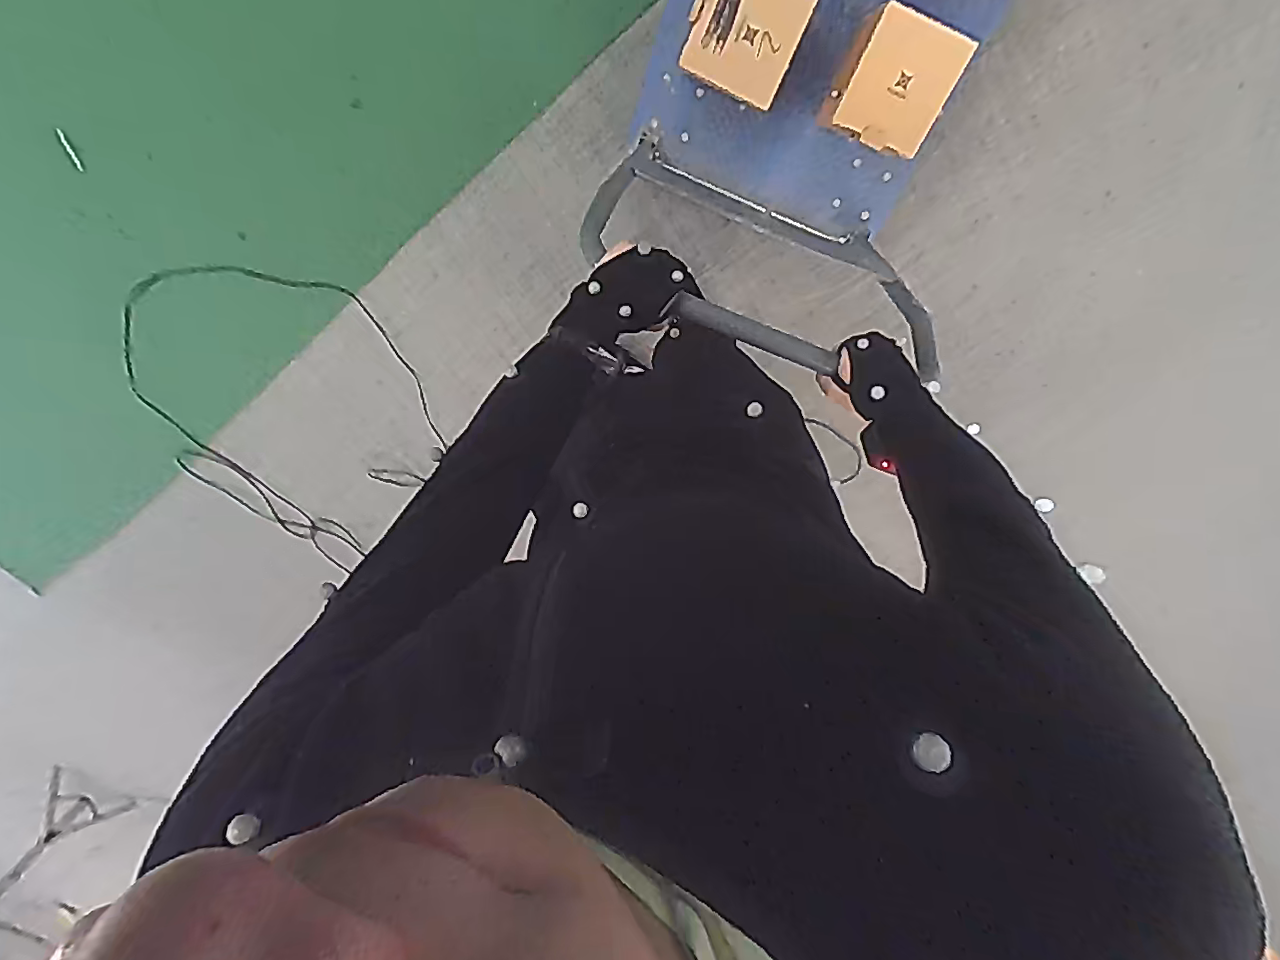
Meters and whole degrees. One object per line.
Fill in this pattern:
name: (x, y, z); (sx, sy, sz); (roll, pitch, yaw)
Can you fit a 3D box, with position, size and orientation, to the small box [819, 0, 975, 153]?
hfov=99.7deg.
small box: (0.444, -0.721, 0.972); (0.168, 0.176, 0.179); (20, 125, -7)
